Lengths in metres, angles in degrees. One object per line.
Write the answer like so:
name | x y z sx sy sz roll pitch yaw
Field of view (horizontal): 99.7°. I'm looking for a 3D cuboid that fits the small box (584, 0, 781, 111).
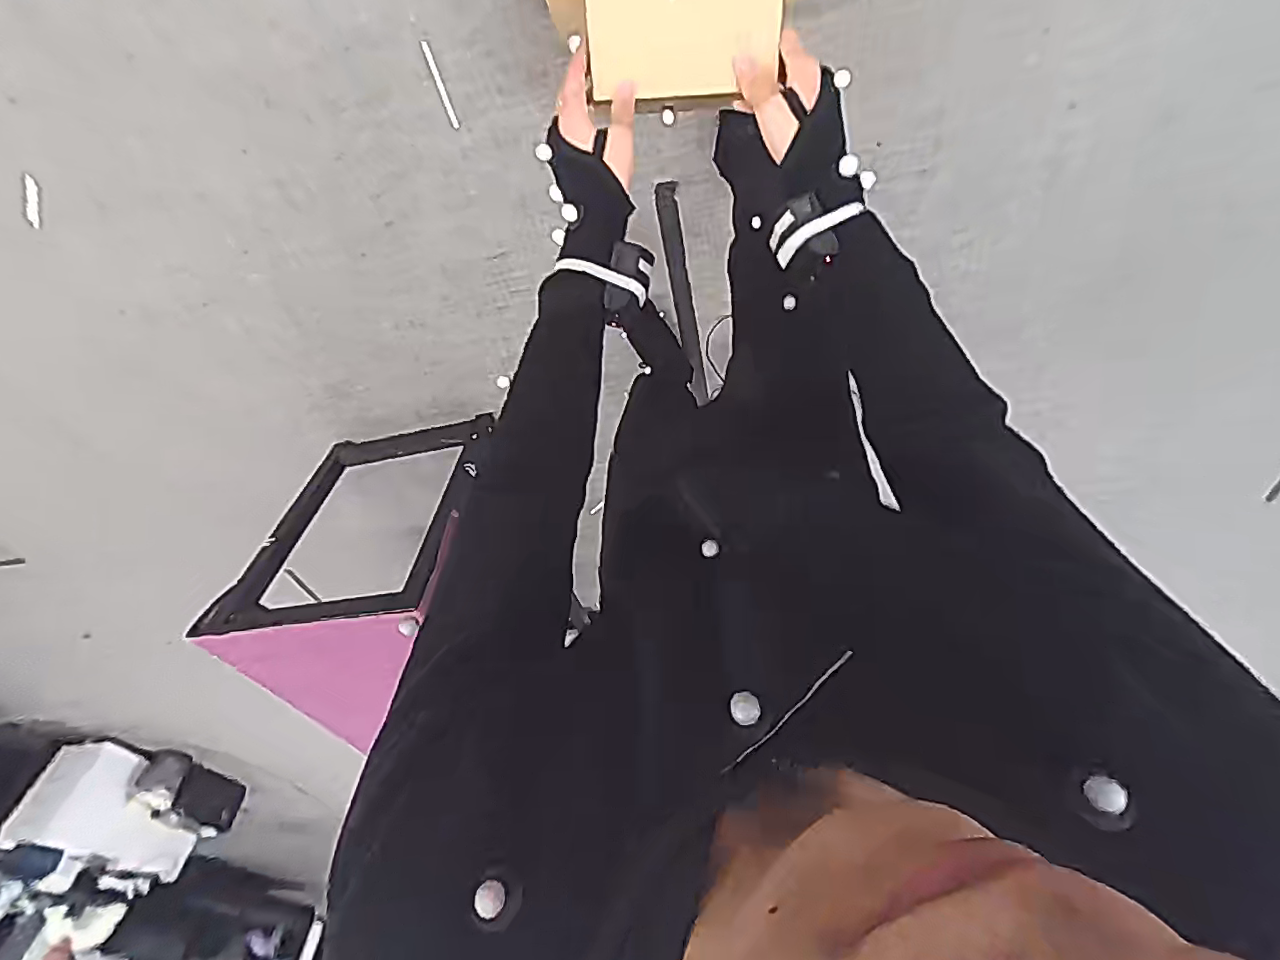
small box | 0.030 -0.454 0.501 0.168 0.176 0.179 -5 119 -2
